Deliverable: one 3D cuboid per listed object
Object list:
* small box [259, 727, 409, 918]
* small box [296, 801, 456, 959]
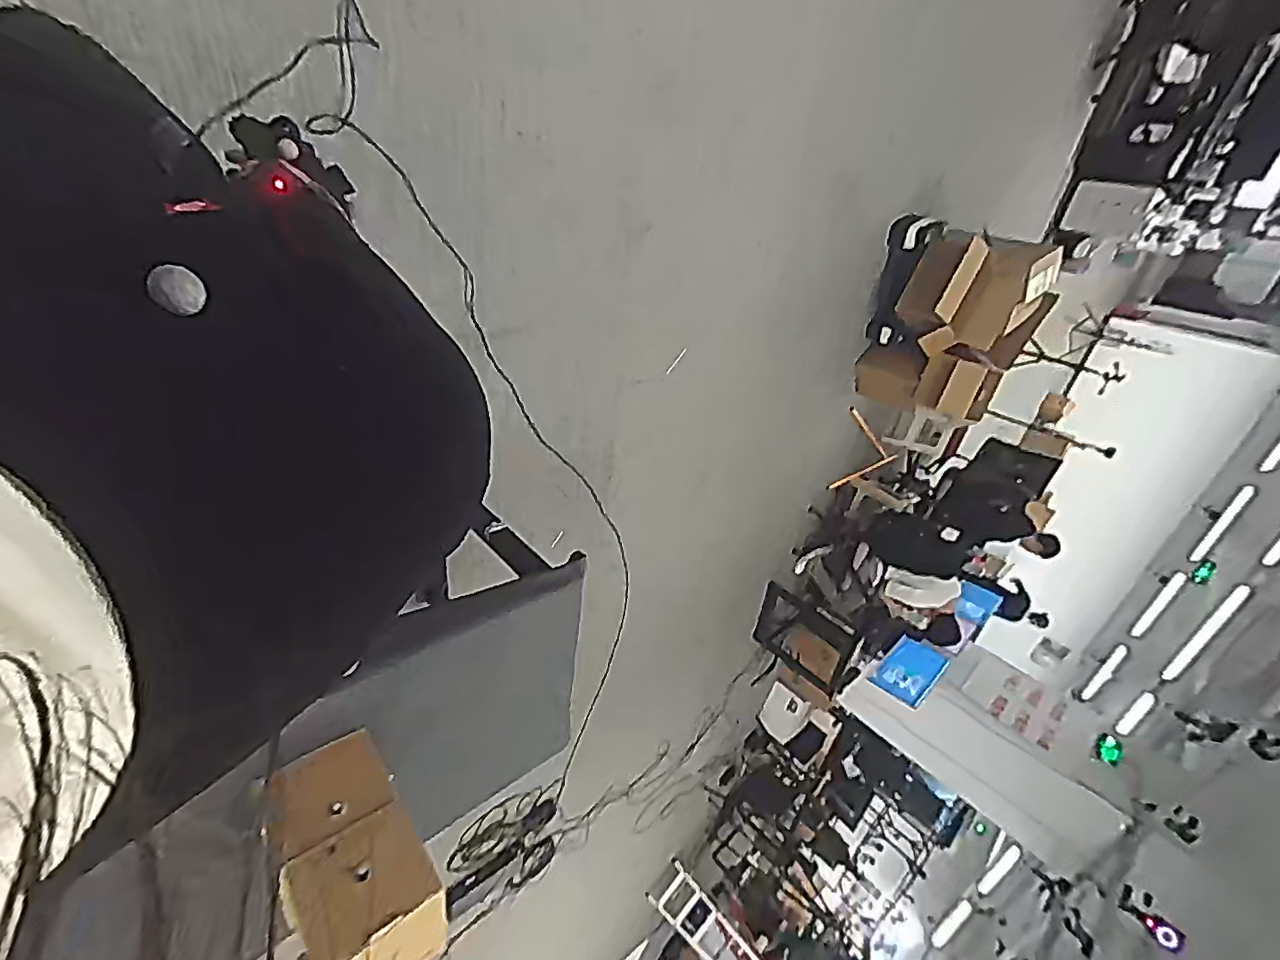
[{"bbox_3d":[-0.505,0.559,0.907,0.179,0.176,0.168,-17,127,-40],"label":"small box"},{"bbox_3d":[-0.392,0.626,0.809,0.168,0.176,0.179,-17,126,-41],"label":"small box"}]
